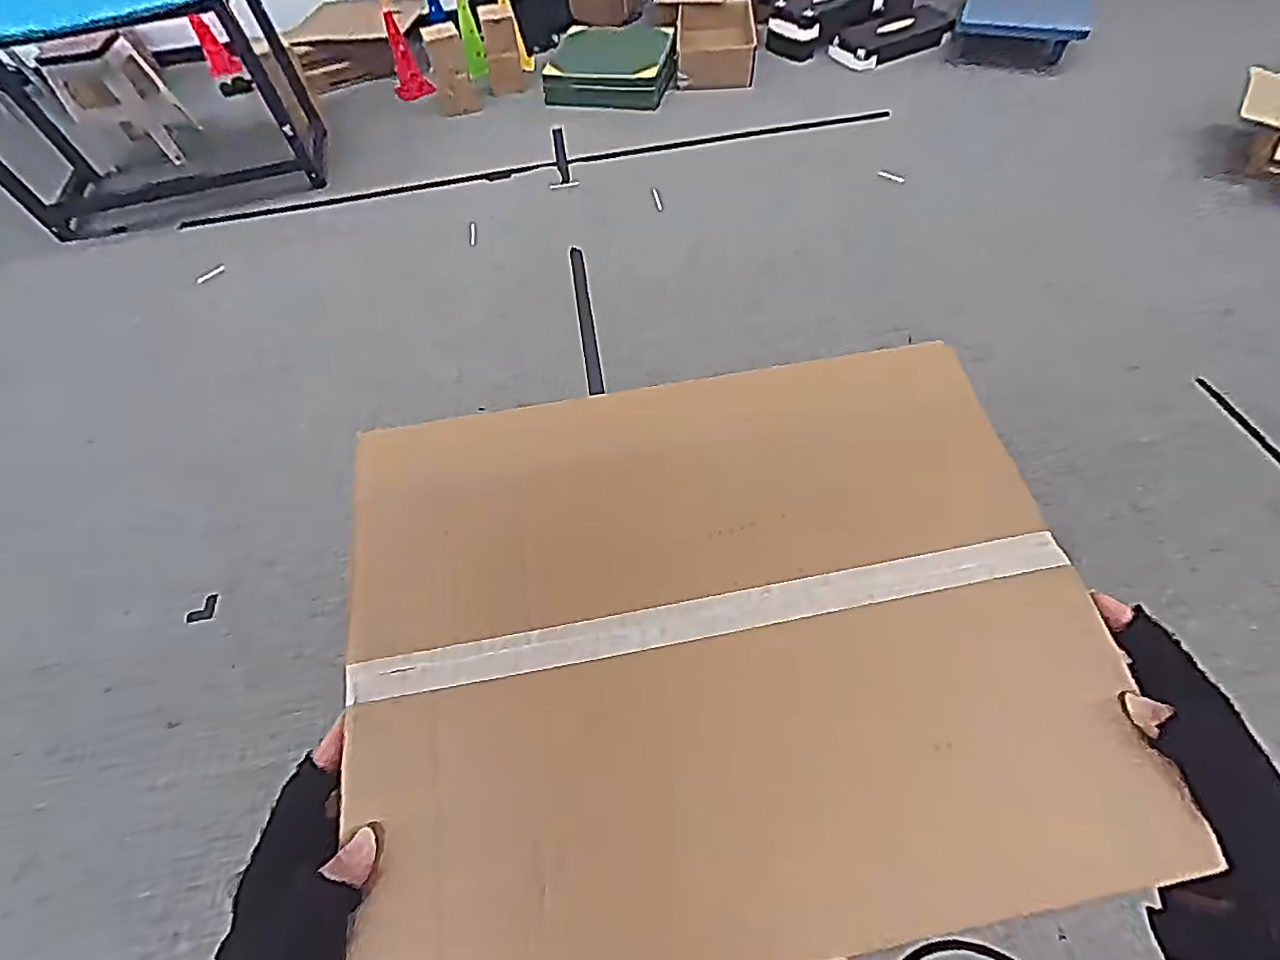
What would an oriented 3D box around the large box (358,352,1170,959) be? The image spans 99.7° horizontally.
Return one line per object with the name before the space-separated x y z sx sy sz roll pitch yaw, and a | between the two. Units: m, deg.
large box | 0.045 0.141 0.447 0.408 0.320 0.320 -10 65 -3
